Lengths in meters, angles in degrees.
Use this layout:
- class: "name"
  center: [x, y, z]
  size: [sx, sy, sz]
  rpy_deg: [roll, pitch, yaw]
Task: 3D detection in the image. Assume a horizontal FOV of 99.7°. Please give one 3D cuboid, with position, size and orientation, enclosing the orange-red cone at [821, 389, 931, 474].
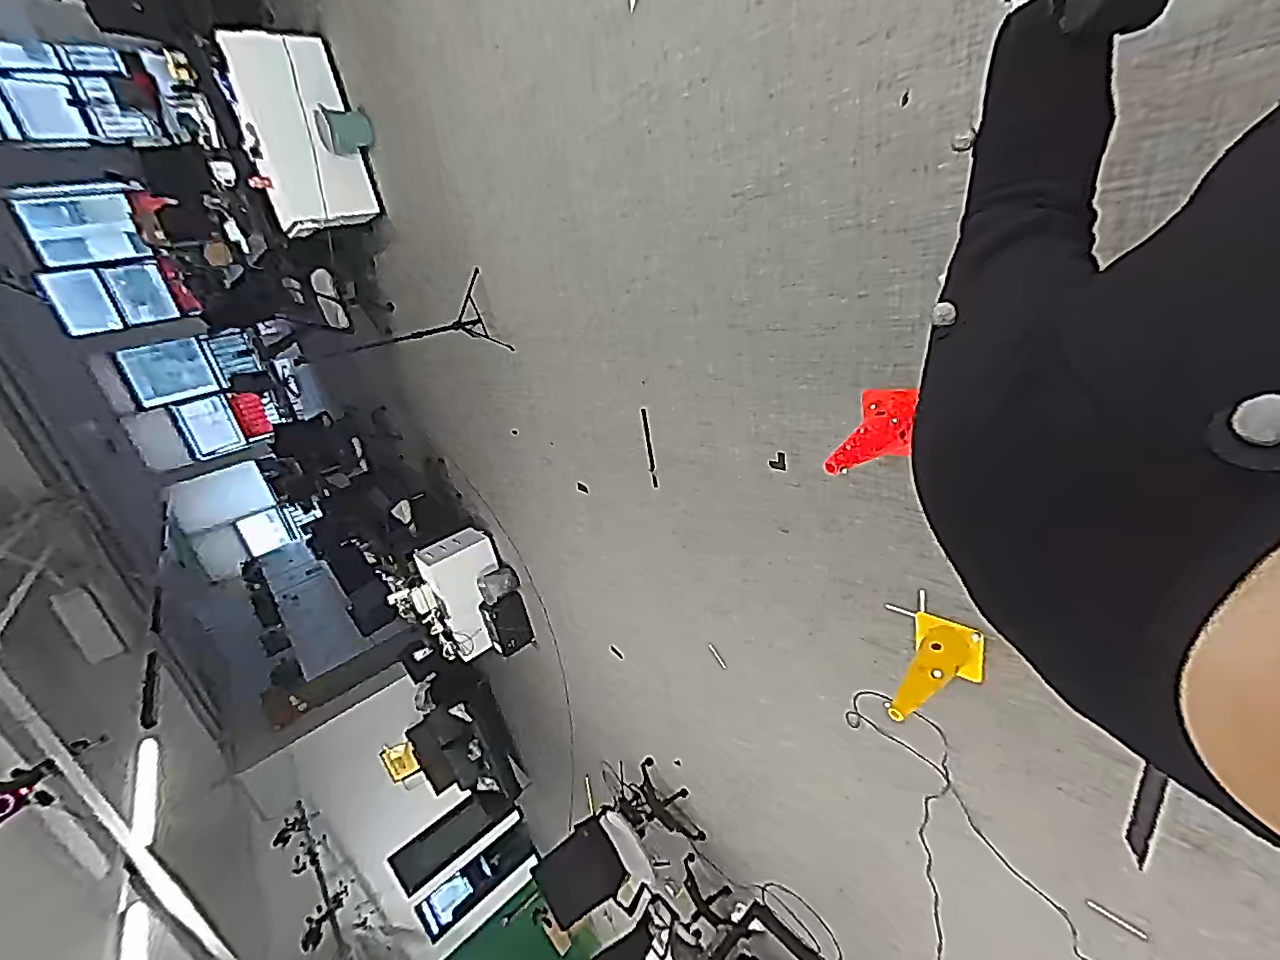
- class: "orange-red cone"
  center: [0.612, -0.097, 1.473]
  size: [0.198, 0.360, 0.199]
  rpy_deg: [14, 125, 50]
